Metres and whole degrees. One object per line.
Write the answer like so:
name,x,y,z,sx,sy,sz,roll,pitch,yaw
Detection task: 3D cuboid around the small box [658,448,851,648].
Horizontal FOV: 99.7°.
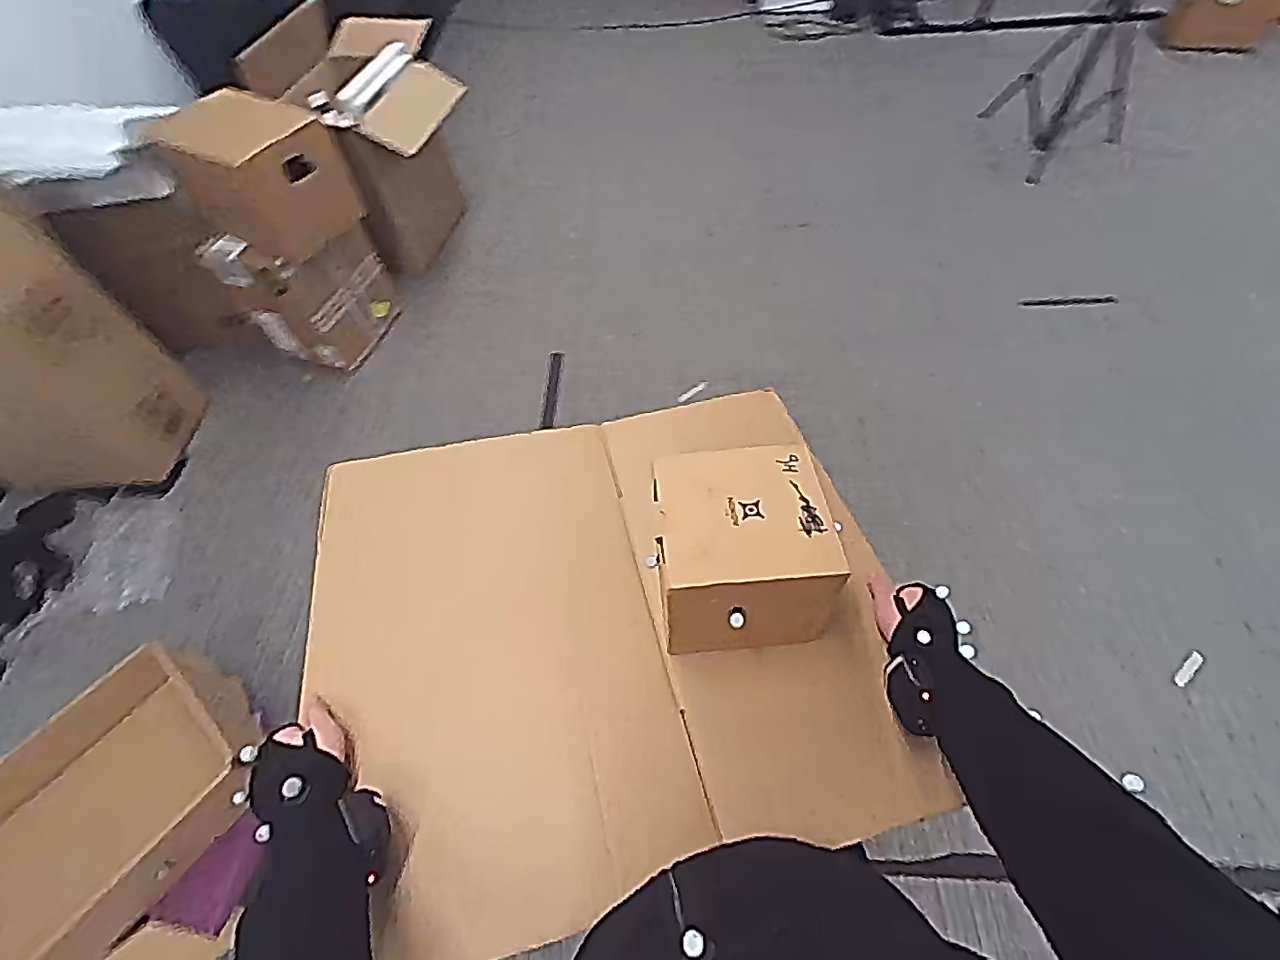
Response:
small box,0.117,0.084,0.625,0.179,0.176,0.168,-5,53,1
